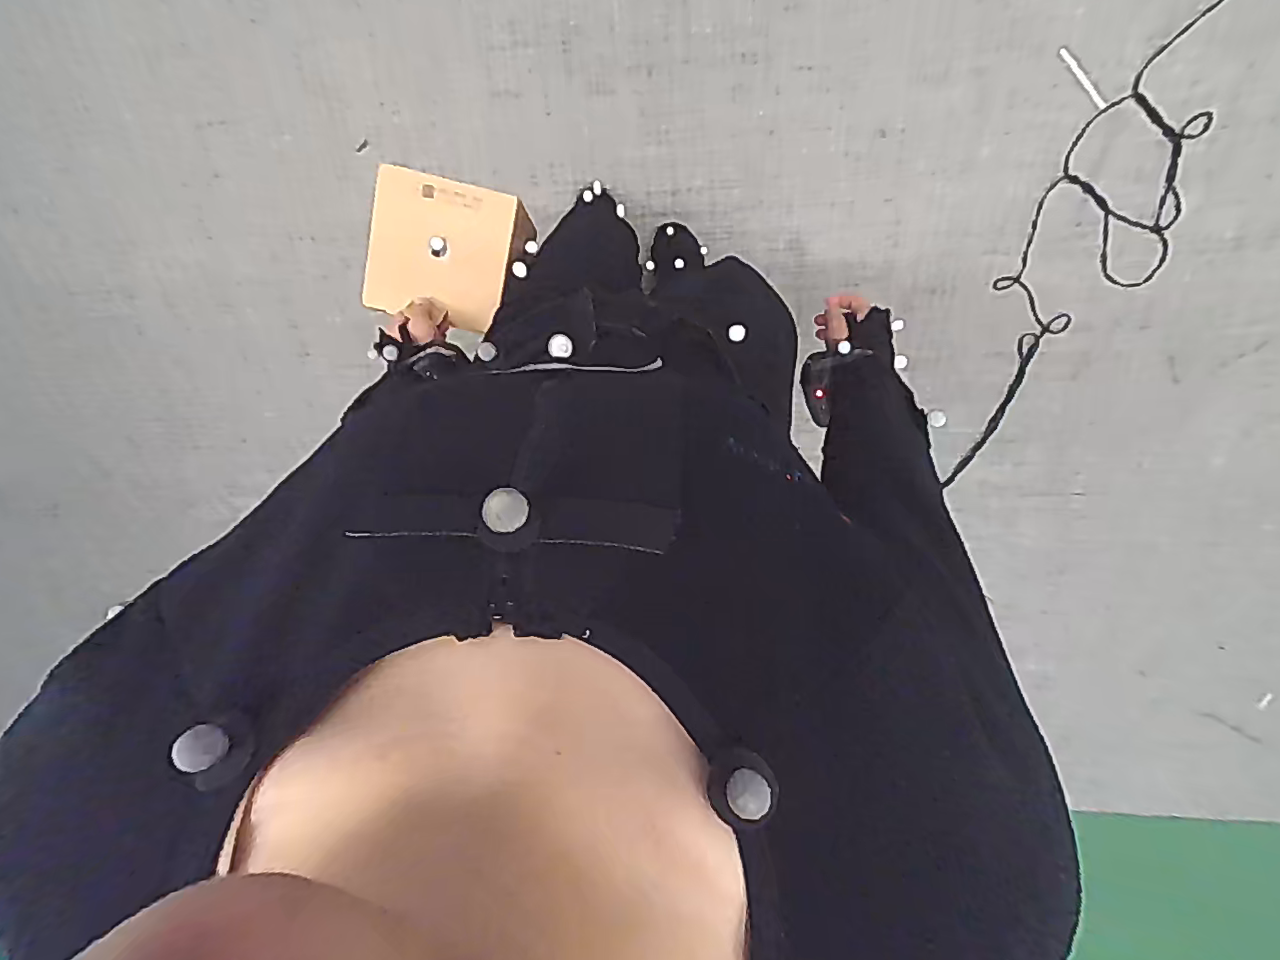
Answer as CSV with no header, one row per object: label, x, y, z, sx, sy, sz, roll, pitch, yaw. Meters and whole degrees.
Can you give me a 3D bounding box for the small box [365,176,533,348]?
small box,-0.248,-0.286,0.736,0.168,0.179,0.176,12,100,-6
